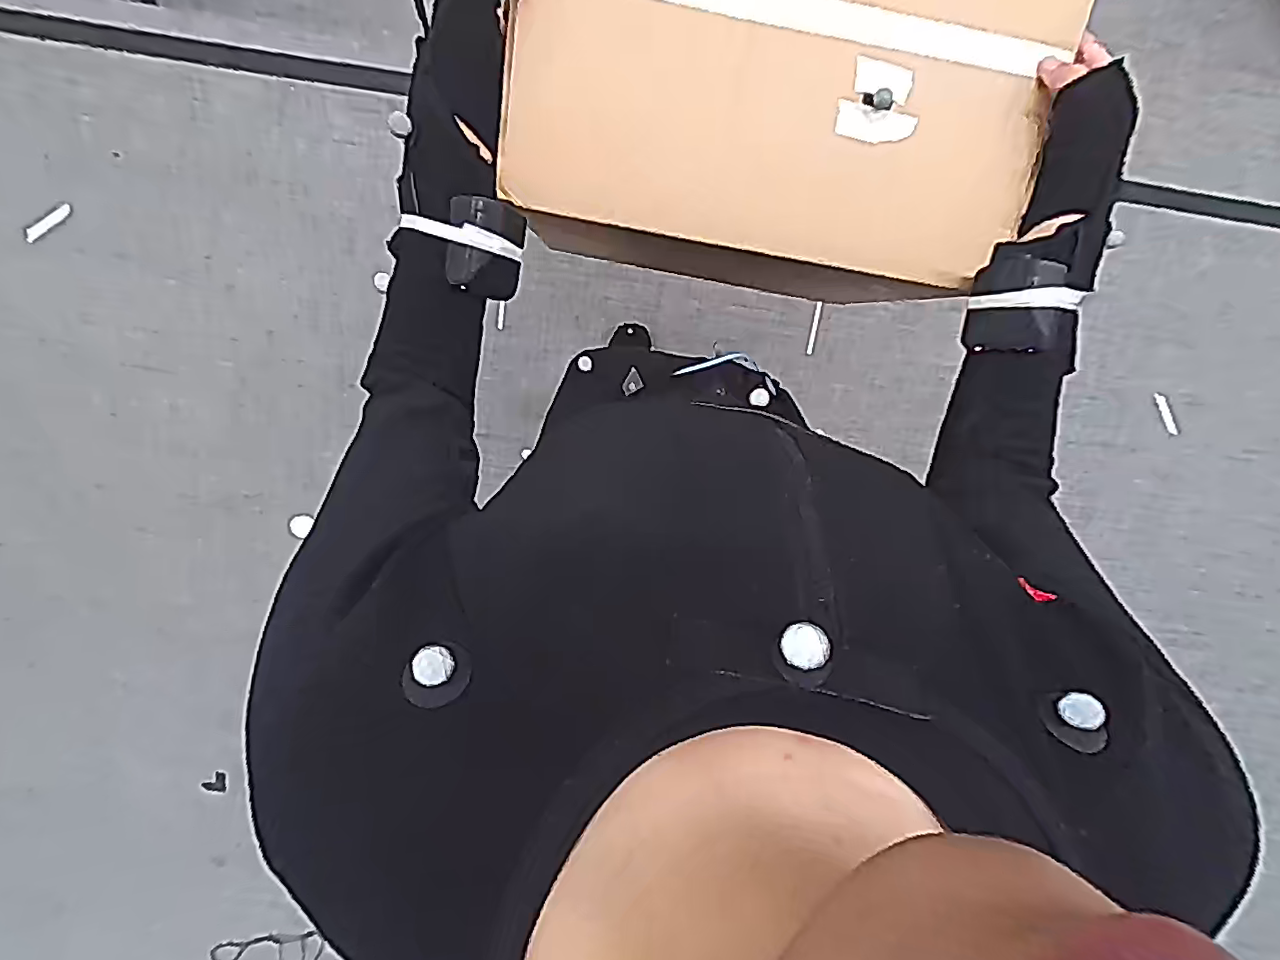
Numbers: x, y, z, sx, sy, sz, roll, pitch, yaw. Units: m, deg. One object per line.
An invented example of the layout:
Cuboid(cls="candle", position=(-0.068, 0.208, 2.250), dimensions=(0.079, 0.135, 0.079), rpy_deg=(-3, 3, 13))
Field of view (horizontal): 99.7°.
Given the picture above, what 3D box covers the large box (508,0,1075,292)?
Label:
Cuboid(cls="large box", position=(0.105, -0.379, 0.531), dimensions=(0.408, 0.320, 0.320), rpy_deg=(8, 108, -6))
